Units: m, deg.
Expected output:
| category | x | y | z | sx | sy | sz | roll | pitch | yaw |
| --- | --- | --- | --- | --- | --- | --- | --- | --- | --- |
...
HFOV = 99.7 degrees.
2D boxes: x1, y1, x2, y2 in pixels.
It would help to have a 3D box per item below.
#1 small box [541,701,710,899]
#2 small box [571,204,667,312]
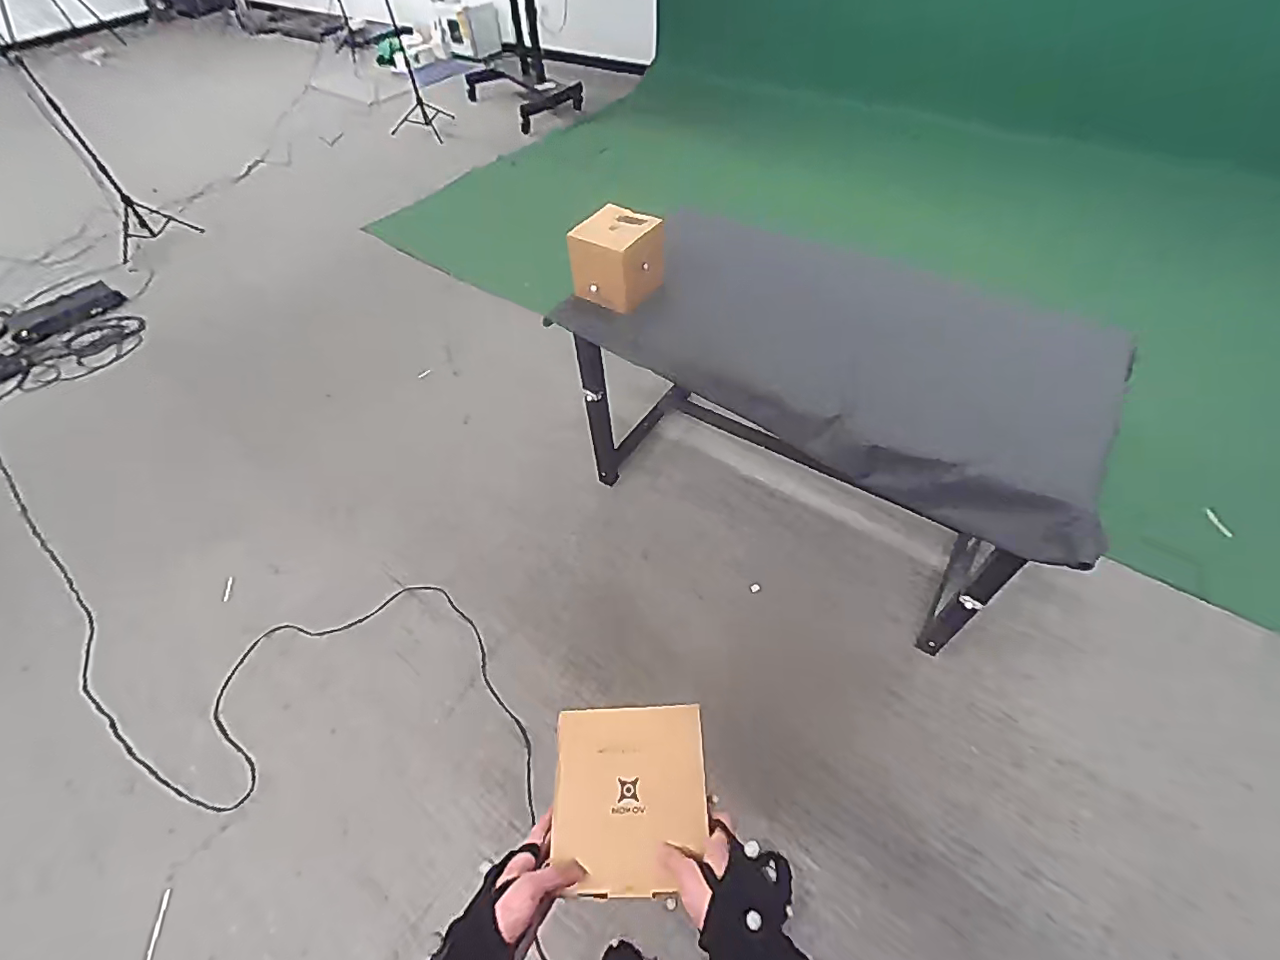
| category | x | y | z | sx | sy | sz | roll | pitch | yaw |
| --- | --- | --- | --- | --- | --- | --- | --- | --- | --- |
| small box | -0.008 | 0.369 | 0.627 | 0.168 | 0.176 | 0.179 | -4 | 54 | 4 |
| small box | -0.049 | -0.553 | 1.352 | 0.168 | 0.176 | 0.179 | 28 | 58 | 23 |
